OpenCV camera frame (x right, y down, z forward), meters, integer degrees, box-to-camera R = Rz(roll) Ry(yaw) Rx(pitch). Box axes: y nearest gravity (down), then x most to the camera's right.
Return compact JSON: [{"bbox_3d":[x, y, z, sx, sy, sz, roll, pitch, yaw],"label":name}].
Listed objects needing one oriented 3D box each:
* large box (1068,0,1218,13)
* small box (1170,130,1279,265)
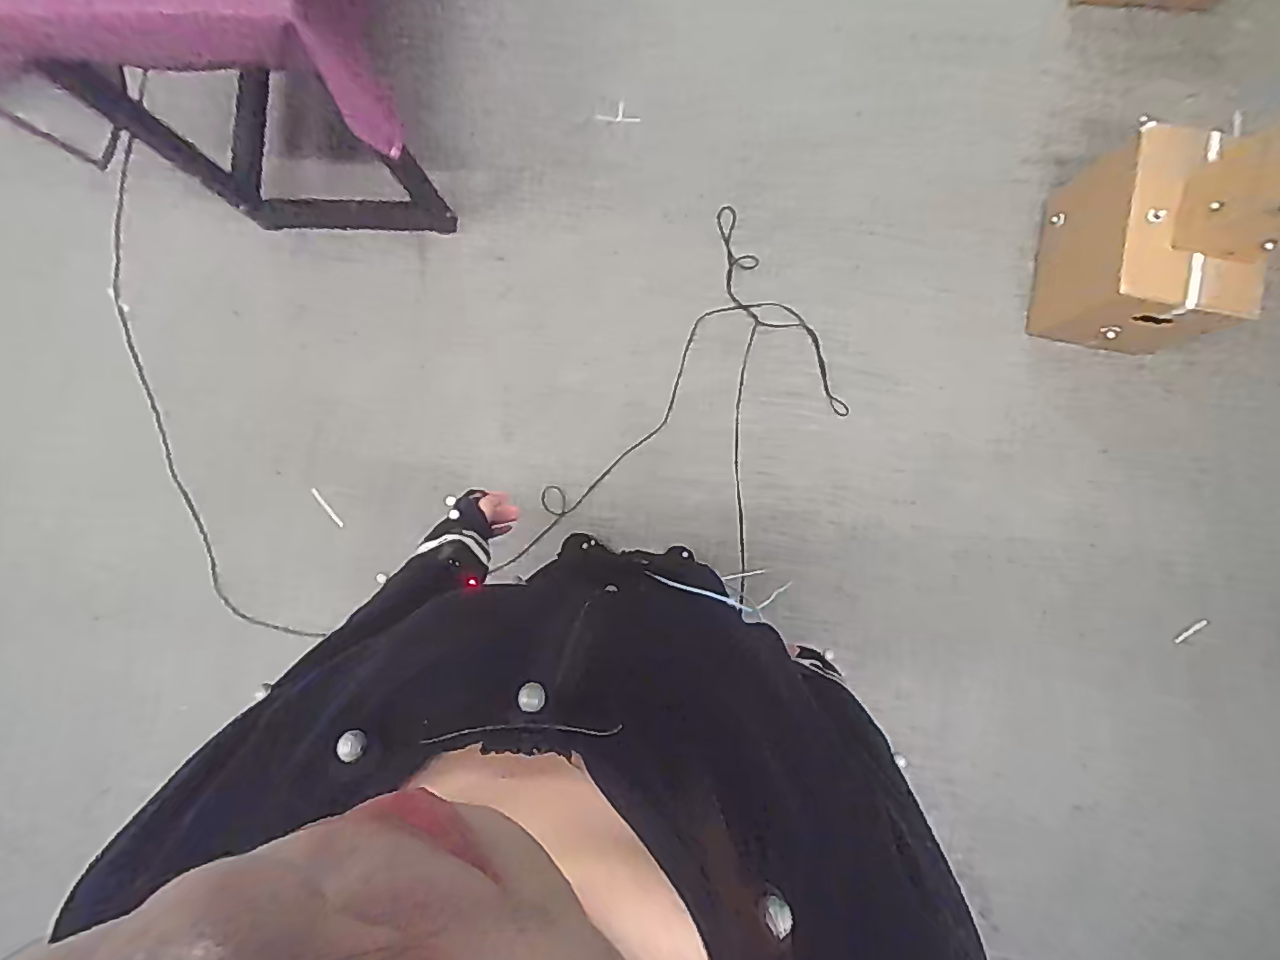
[{"bbox_3d":[1.429,-1.506,1.412,0.408,0.320,0.320,5,88,0],"label":"large box"},{"bbox_3d":[1.276,-0.577,1.129,0.168,0.176,0.179,15,88,0],"label":"small box"}]
